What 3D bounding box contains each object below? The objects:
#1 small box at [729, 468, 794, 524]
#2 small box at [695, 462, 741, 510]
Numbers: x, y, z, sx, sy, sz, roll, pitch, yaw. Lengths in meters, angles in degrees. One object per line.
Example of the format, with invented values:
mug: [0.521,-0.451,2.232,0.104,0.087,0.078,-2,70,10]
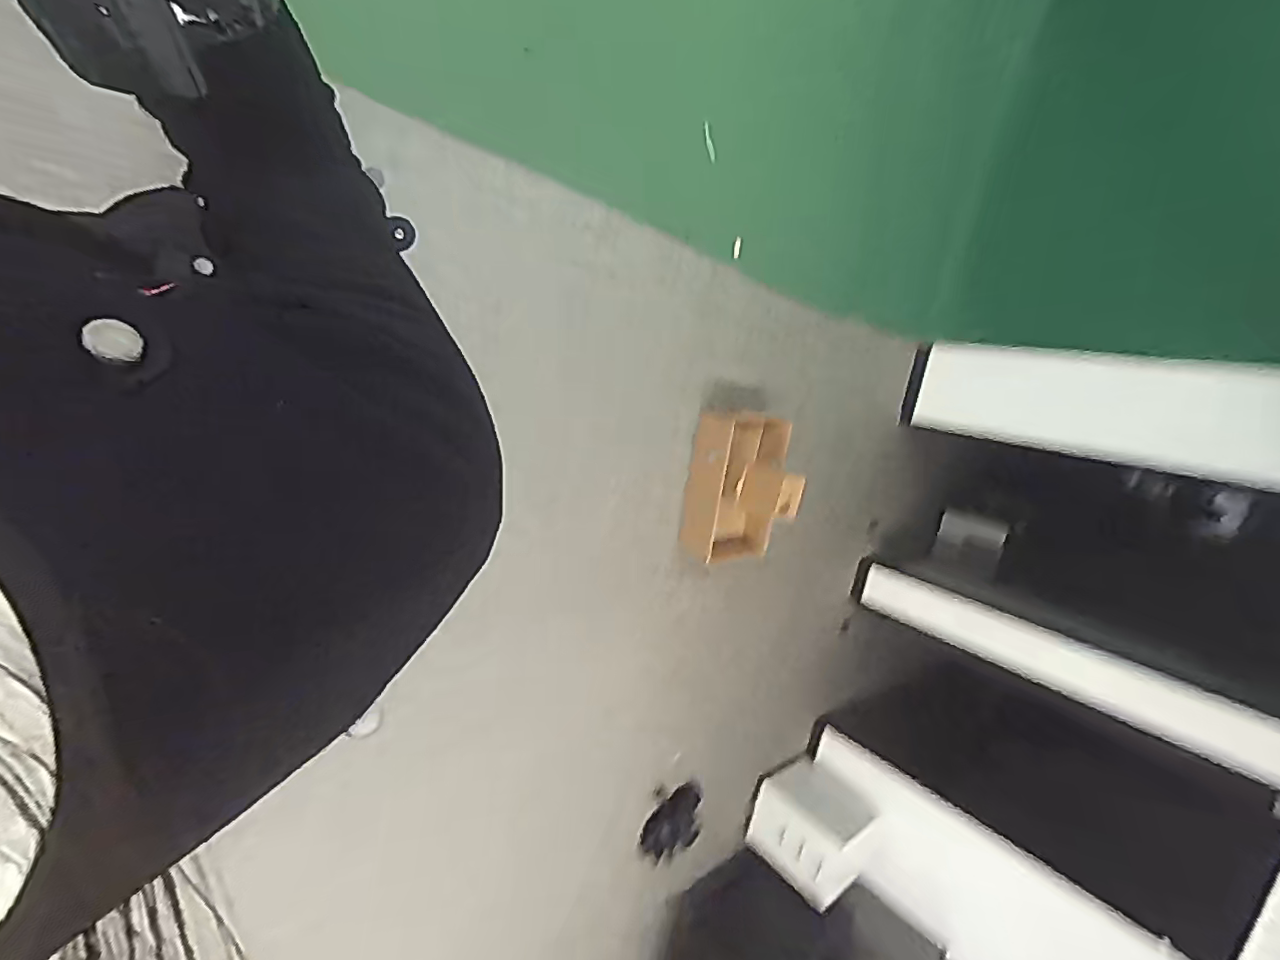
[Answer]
small box: [0.472,0.065,2.128,0.168,0.176,0.179,7,99,-46]
small box: [0.355,0.025,2.237,0.179,0.176,0.168,5,102,-45]
